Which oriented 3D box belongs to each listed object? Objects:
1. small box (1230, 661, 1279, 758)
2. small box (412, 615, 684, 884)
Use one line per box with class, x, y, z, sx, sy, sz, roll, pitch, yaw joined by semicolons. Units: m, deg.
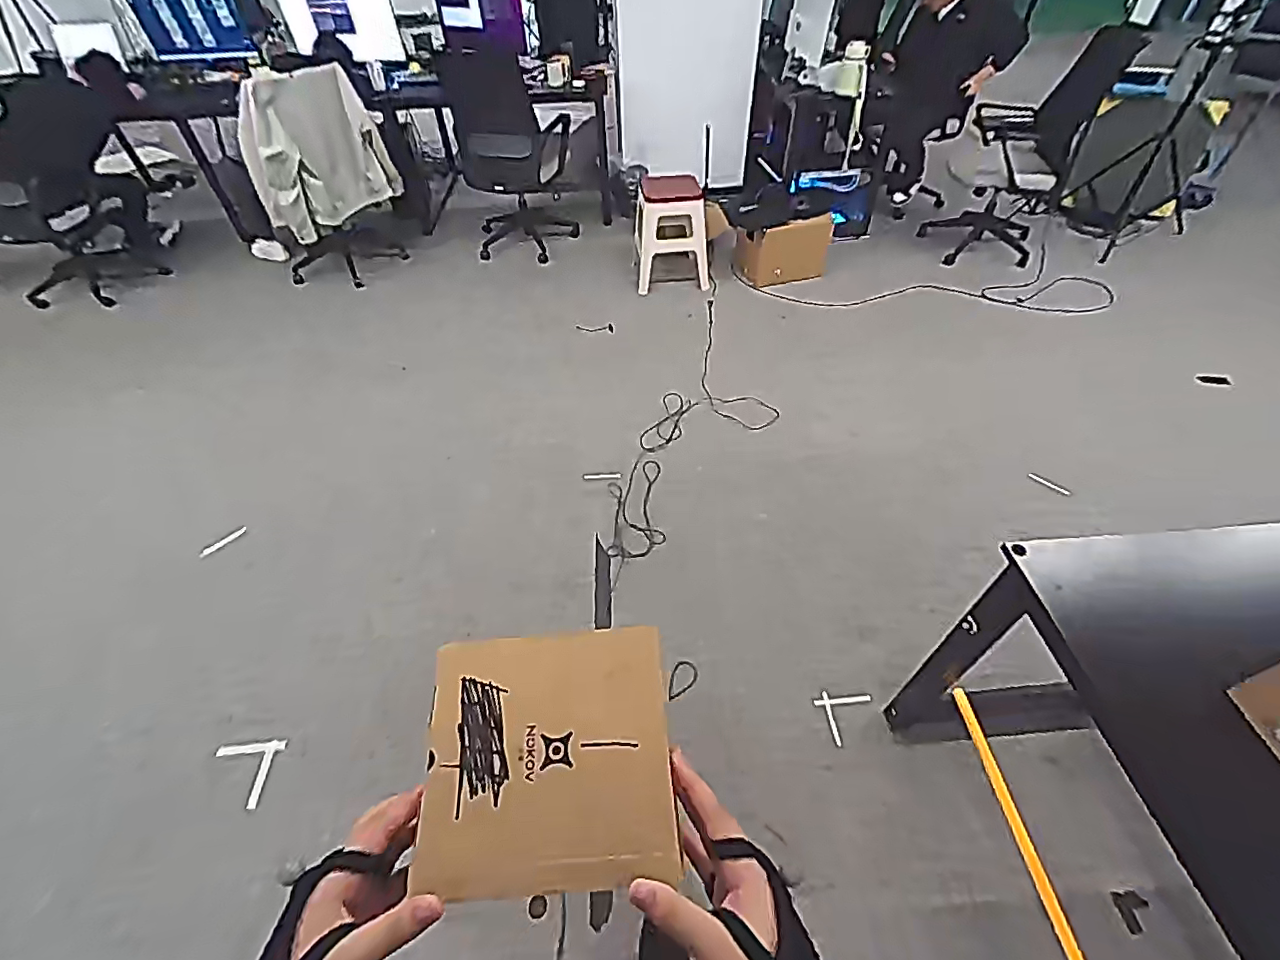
small box;0.874;0.276;0.620;0.179;0.176;0.168;-6;46;-2
small box;-0.059;0.227;0.452;0.179;0.176;0.168;-6;57;1
